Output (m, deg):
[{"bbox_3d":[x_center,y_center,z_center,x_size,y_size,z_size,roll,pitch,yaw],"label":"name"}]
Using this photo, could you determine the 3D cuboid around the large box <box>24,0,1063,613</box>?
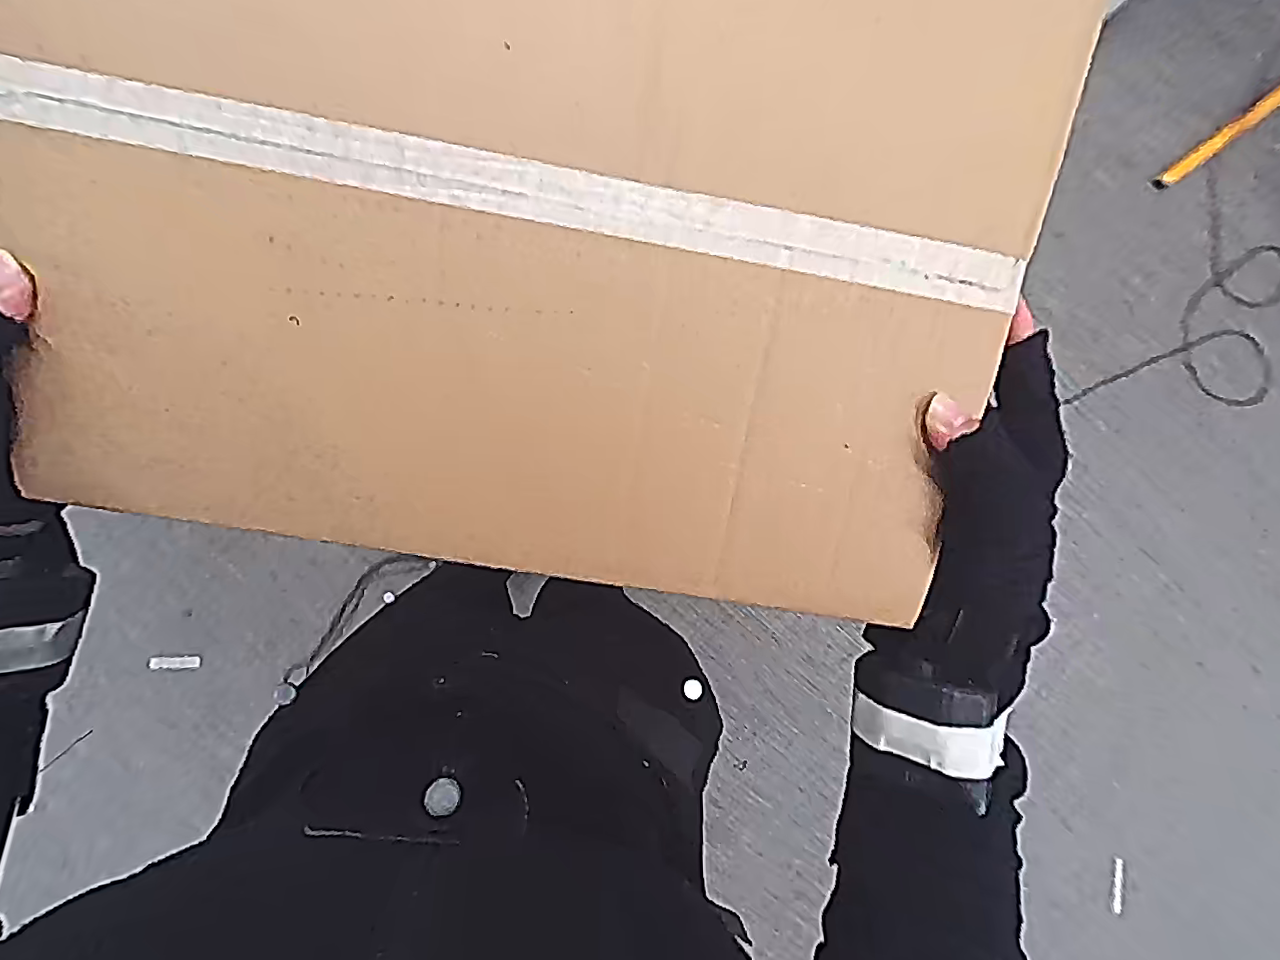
[{"bbox_3d":[-0.051,-0.136,0.373,0.408,0.320,0.320,8,103,-4],"label":"large box"}]
